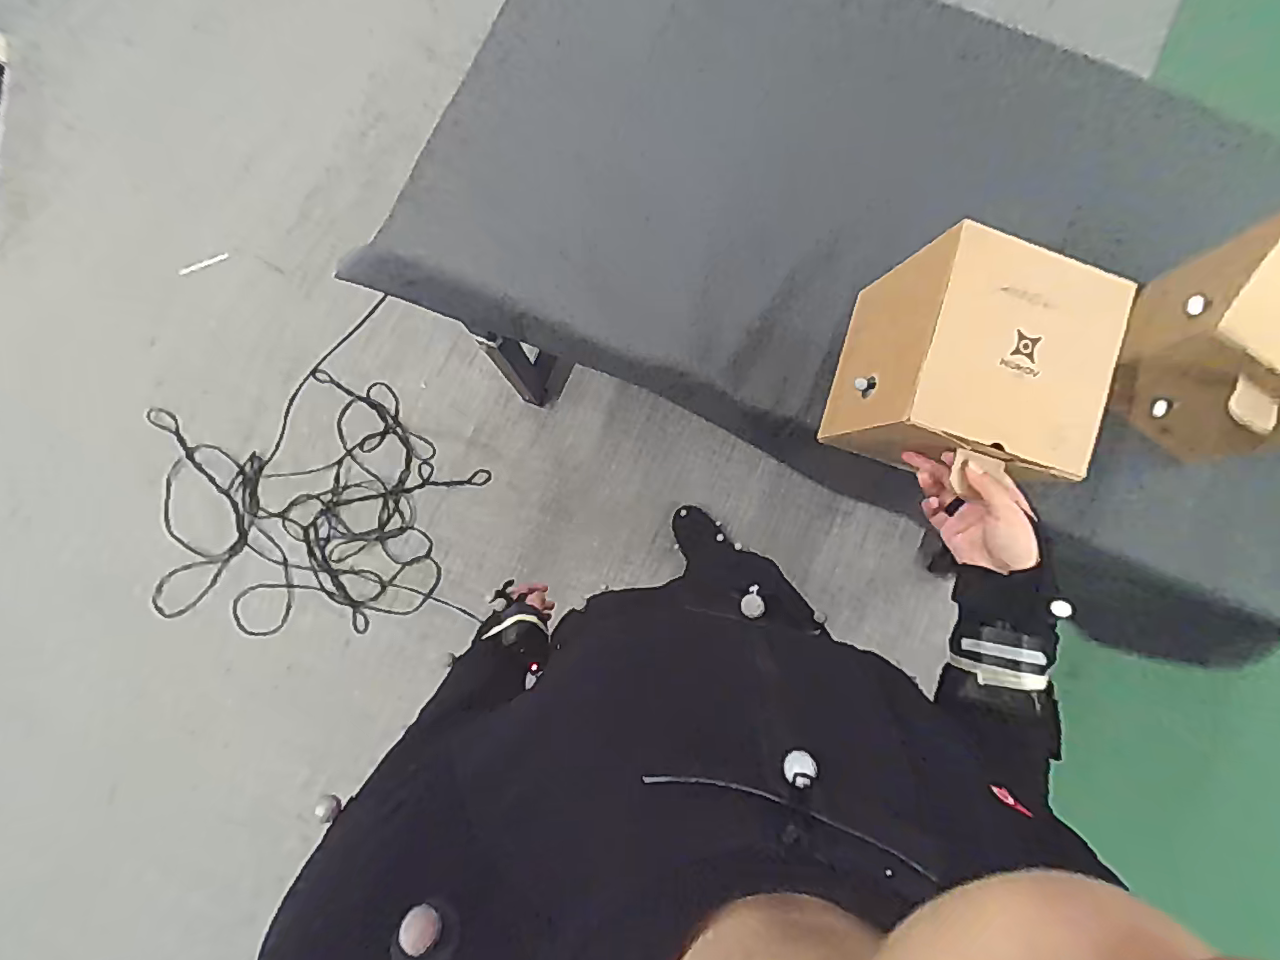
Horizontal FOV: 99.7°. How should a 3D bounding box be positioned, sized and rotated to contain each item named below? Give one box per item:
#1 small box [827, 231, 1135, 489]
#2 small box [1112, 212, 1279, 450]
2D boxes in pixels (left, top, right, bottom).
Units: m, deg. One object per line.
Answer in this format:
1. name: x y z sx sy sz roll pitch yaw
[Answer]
1. small box: 0.302 -0.095 0.517 0.168 0.176 0.179 16 87 -6
2. small box: 0.659 -0.156 0.591 0.168 0.176 0.179 38 85 5
